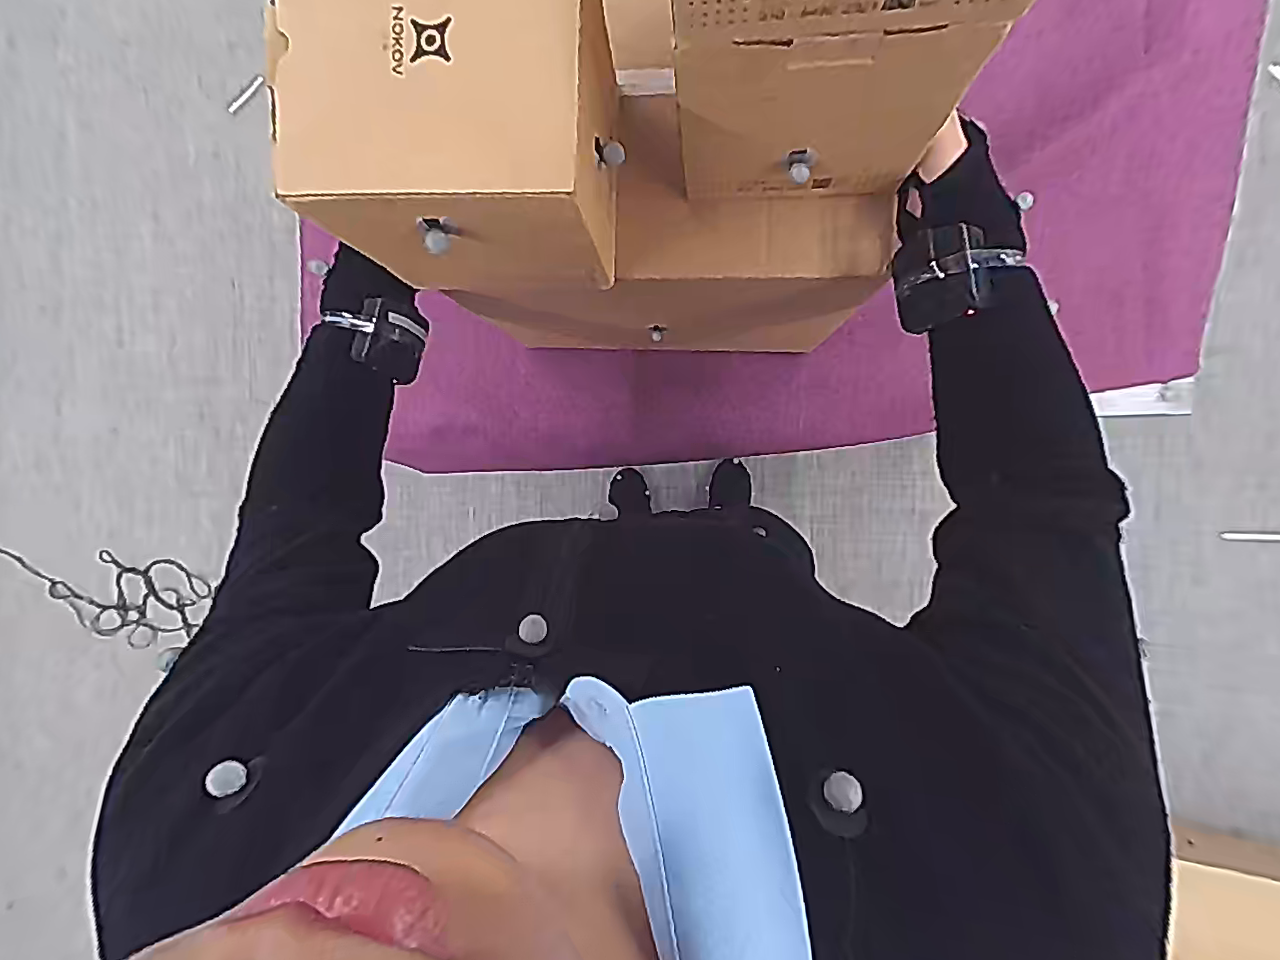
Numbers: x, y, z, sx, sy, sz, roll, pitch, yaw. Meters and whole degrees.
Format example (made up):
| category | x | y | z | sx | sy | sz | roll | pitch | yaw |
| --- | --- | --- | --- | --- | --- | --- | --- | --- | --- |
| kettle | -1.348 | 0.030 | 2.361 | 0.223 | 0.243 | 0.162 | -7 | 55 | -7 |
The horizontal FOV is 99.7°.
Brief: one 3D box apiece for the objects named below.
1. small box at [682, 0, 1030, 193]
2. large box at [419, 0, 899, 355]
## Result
| category | x | y | z | sx | sy | sz | roll | pitch | yaw |
| --- | --- | --- | --- | --- | --- | --- | --- | --- | --- |
| small box | 0.113 | -0.309 | 0.338 | 0.168 | 0.176 | 0.179 | 2 | 92 | 7 |
| large box | 0.026 | -0.322 | 0.593 | 0.408 | 0.320 | 0.320 | 1 | 91 | 7 |
